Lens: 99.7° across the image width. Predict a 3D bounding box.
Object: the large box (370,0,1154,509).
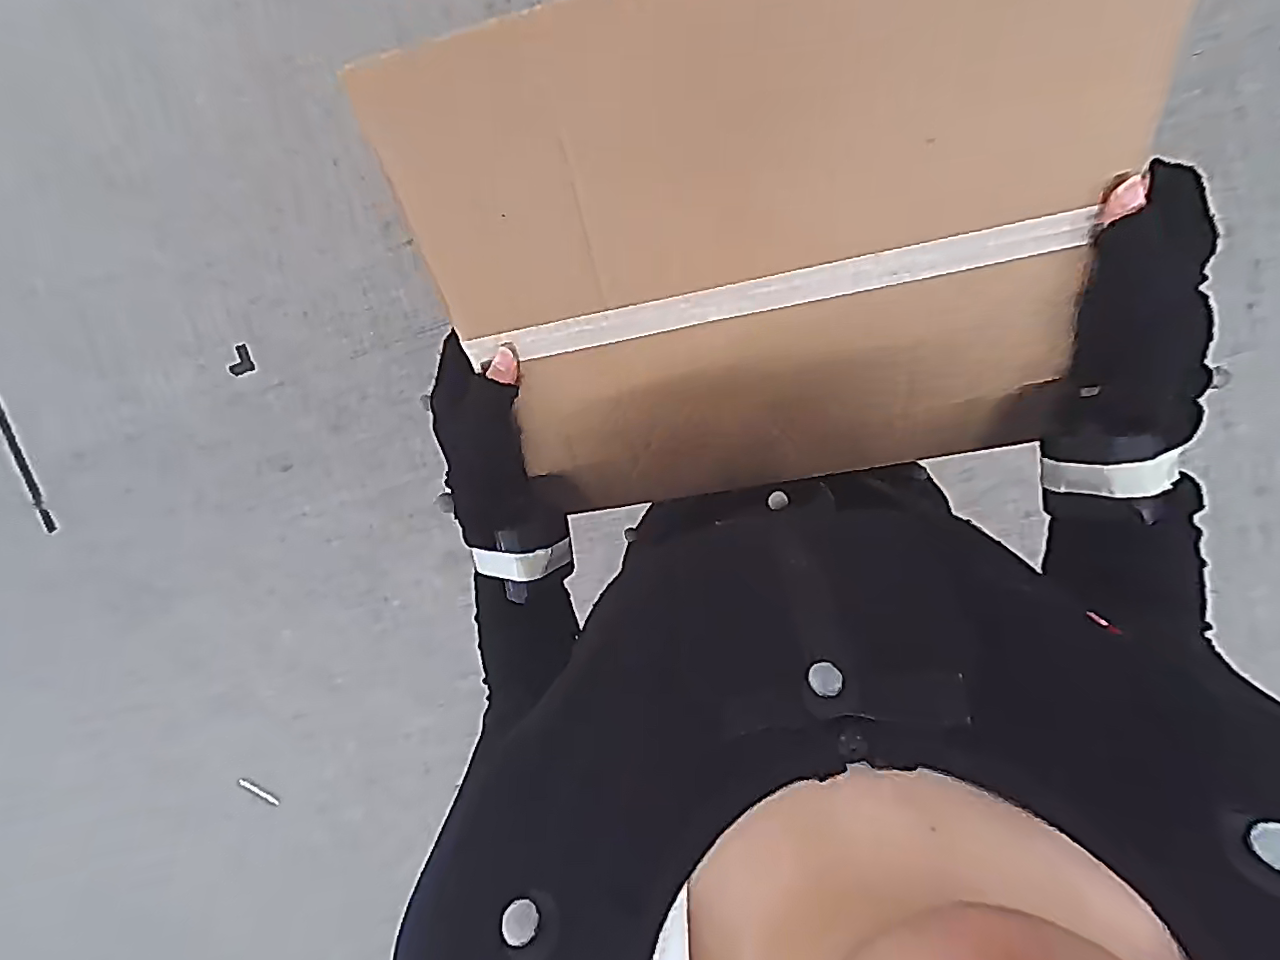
[{"bbox_3d":[0.080,-0.217,0.467,0.408,0.320,0.320,-10,128,8],"label":"large box"}]
